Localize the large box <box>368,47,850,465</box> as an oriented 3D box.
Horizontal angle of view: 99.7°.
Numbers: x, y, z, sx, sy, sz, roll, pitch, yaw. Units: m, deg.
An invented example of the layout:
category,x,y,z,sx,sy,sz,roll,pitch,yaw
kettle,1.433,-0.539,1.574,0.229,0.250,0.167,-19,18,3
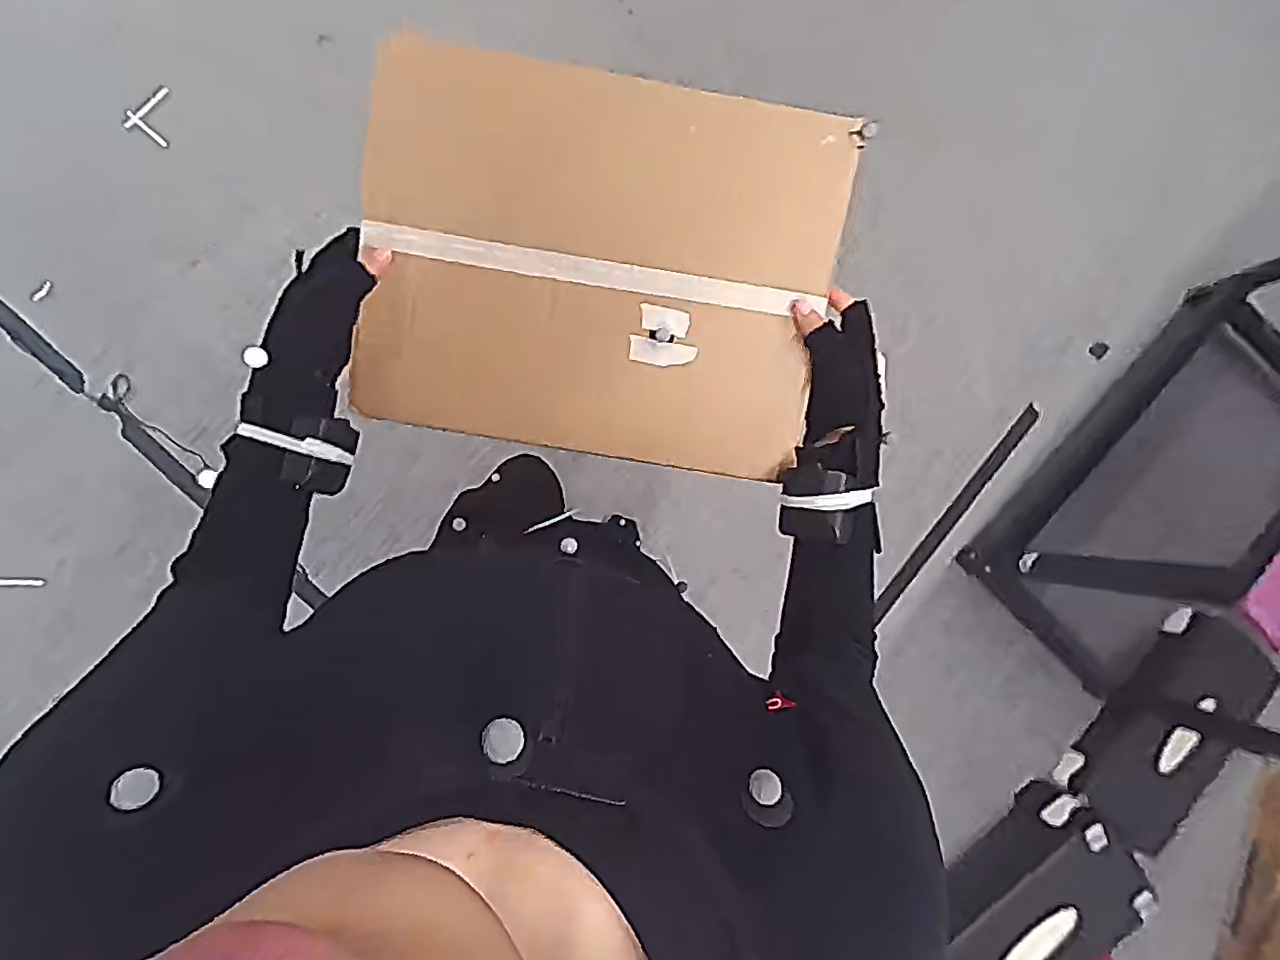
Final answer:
category,x,y,z,sx,sy,sz,roll,pitch,yaw
large box,-0.038,-0.212,0.630,0.408,0.320,0.320,9,99,-2
